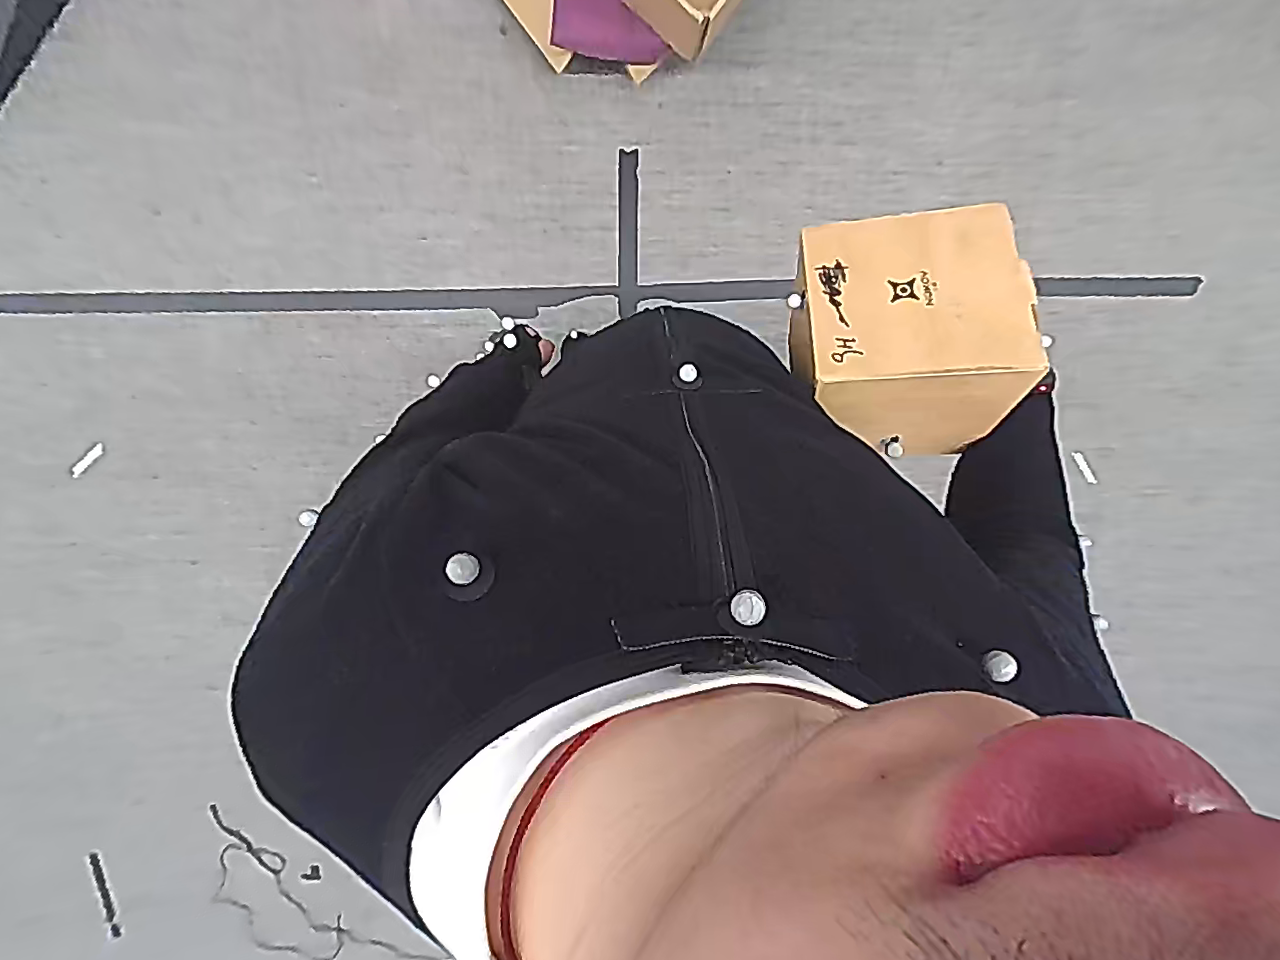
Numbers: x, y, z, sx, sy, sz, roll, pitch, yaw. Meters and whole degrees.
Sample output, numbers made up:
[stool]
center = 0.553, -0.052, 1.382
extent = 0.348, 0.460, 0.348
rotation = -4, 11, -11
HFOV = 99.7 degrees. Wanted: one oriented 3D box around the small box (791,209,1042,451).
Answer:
[small box]
center = 0.253, -0.137, 0.546
extent = 0.179, 0.176, 0.168
rotation = -2, 68, 10
